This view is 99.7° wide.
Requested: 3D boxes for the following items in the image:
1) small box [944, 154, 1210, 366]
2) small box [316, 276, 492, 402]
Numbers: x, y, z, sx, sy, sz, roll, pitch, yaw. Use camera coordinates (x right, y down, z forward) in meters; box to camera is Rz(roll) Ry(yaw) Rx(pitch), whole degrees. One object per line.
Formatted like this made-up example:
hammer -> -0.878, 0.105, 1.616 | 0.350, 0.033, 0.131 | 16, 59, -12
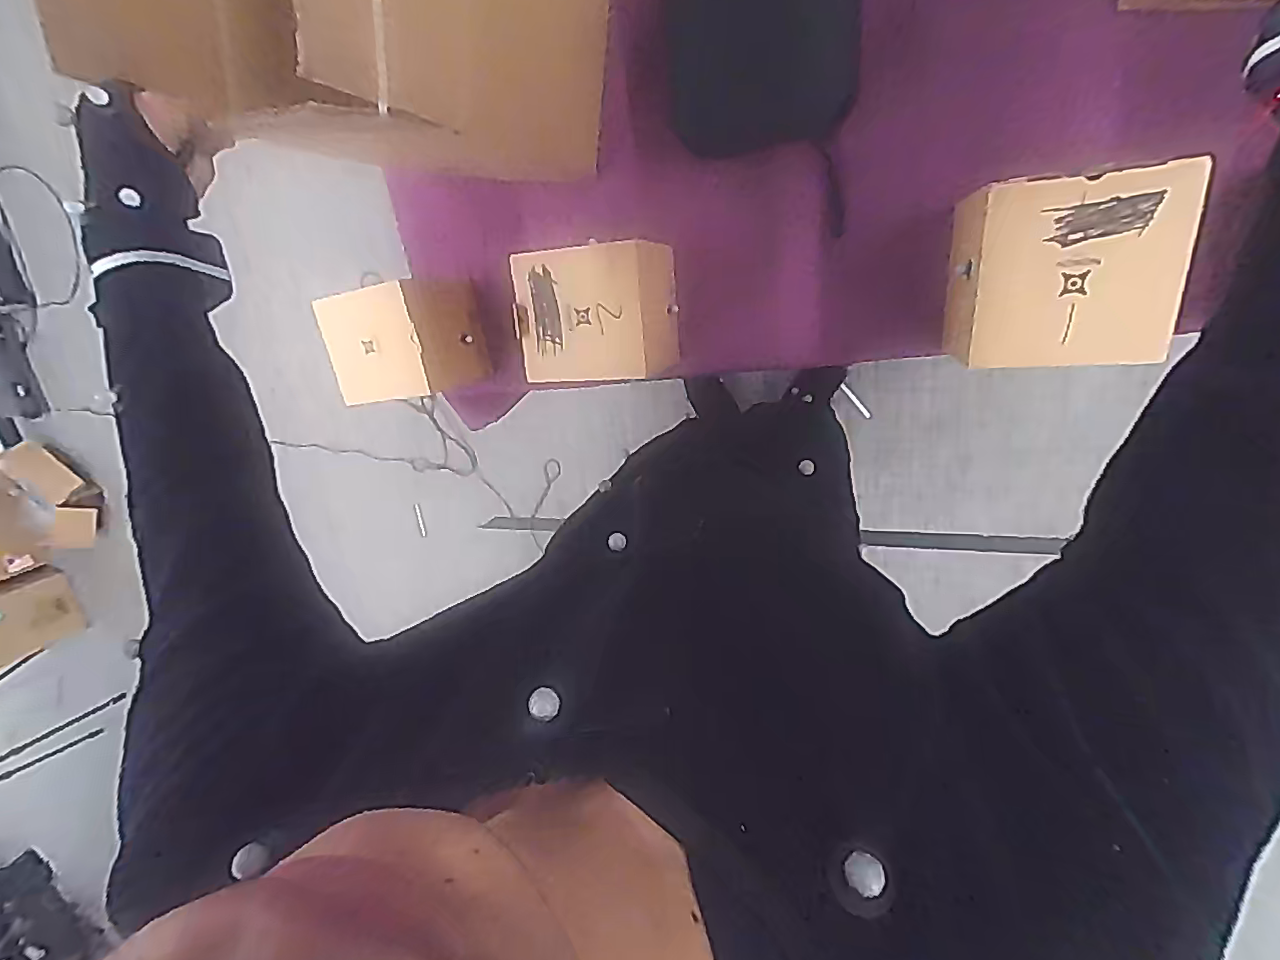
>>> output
small box -> 0.437, -0.223, 0.578 | 0.168, 0.176, 0.179 | 2, 111, 20
small box -> -0.374, -0.229, 0.881 | 0.179, 0.176, 0.168 | -4, 108, 21
